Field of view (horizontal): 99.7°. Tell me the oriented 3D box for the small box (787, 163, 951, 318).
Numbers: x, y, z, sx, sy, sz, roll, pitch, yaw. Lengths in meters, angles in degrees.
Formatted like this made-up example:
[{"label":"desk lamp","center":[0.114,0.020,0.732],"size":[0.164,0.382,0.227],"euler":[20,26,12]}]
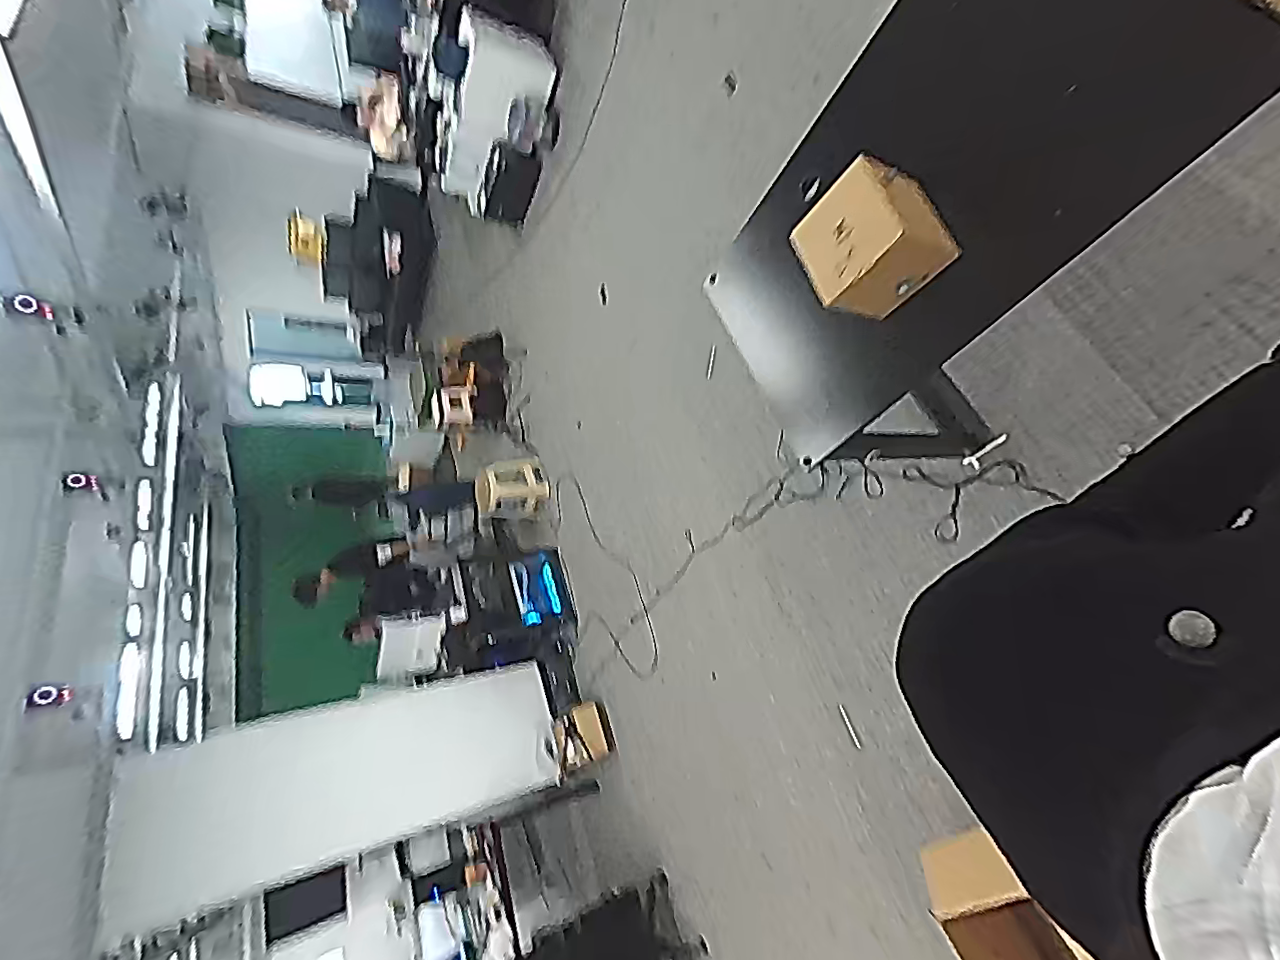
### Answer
[{"label":"small box","center":[0.401,-0.410,0.956],"size":[0.168,0.176,0.179],"euler":[-44,57,49]}]
